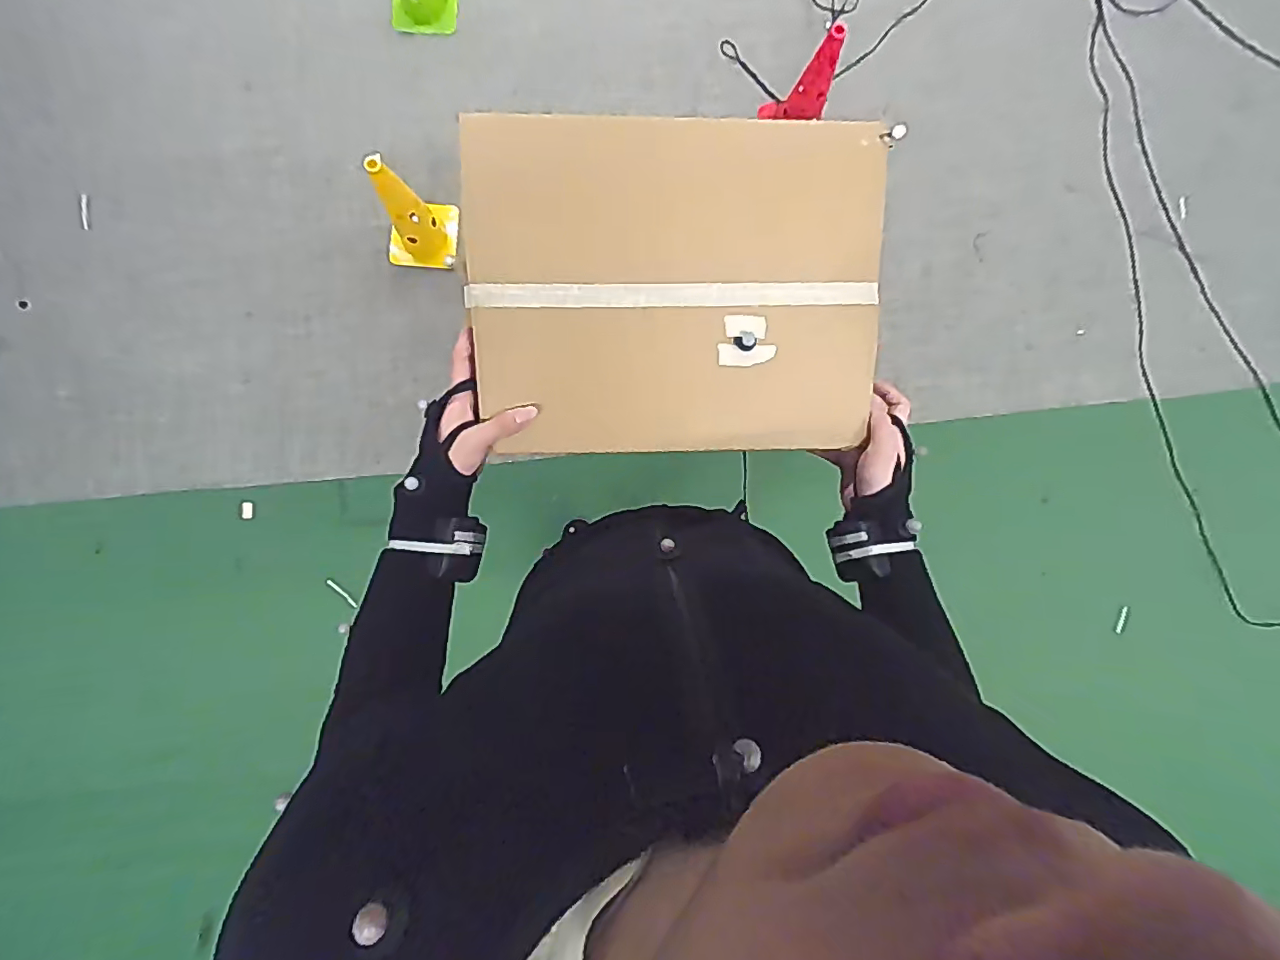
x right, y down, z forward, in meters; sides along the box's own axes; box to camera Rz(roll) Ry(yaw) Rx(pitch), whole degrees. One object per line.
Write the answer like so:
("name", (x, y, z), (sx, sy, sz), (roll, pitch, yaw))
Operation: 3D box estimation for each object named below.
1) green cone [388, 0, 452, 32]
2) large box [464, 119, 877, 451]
("green cone", (-0.683, -1.511, 1.521), (0.200, 0.368, 0.202), (0, 89, -2))
("large box", (0.025, -0.218, 0.686), (0.408, 0.320, 0.320), (-2, 102, -4))
